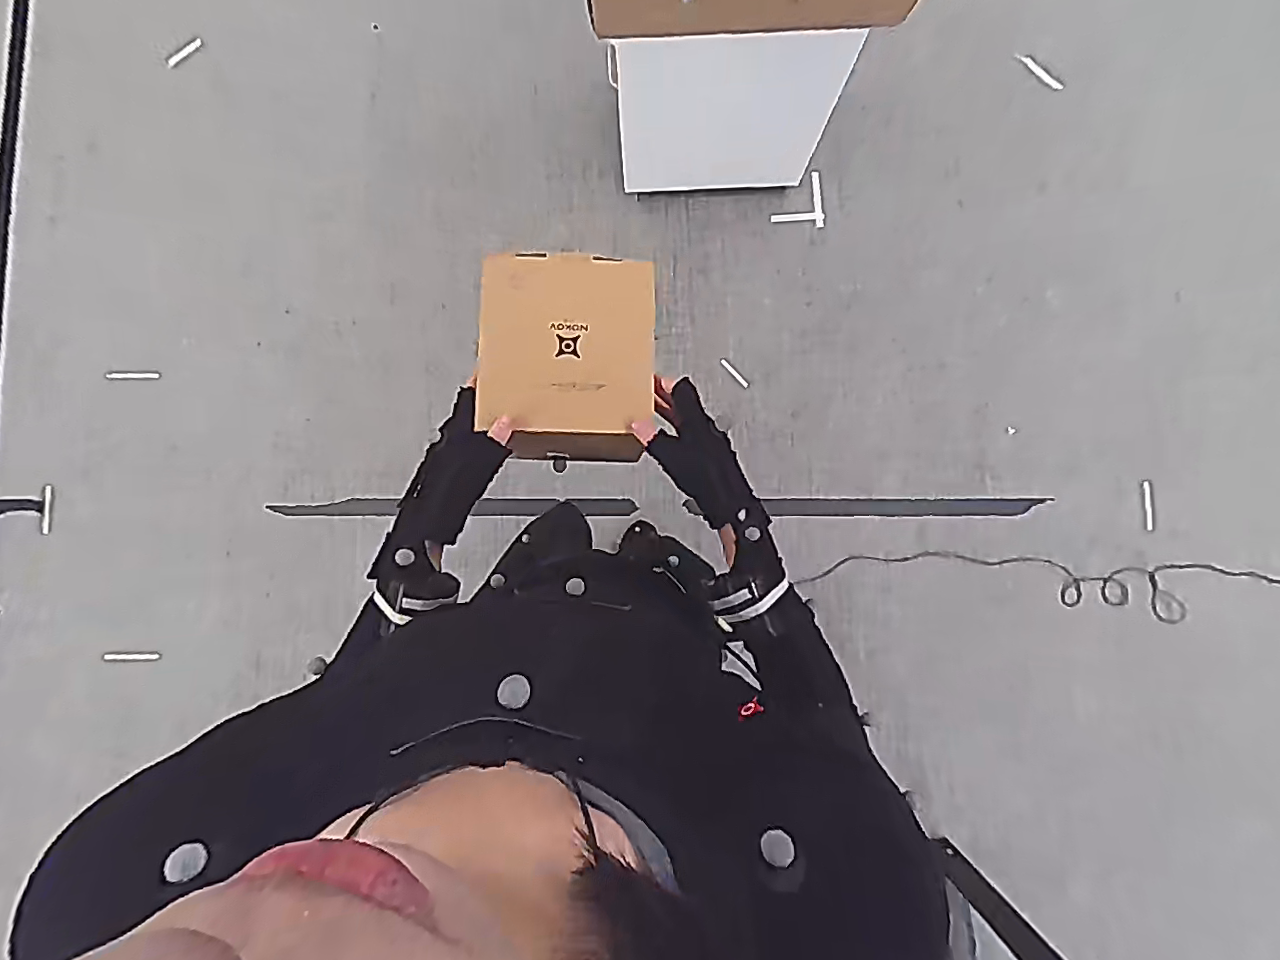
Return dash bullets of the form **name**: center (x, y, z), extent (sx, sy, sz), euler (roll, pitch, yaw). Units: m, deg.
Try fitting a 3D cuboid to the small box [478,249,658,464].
- **small box**: center (-0.072, -0.120, 0.585), extent (0.168, 0.176, 0.179), euler (1, 82, -5)
